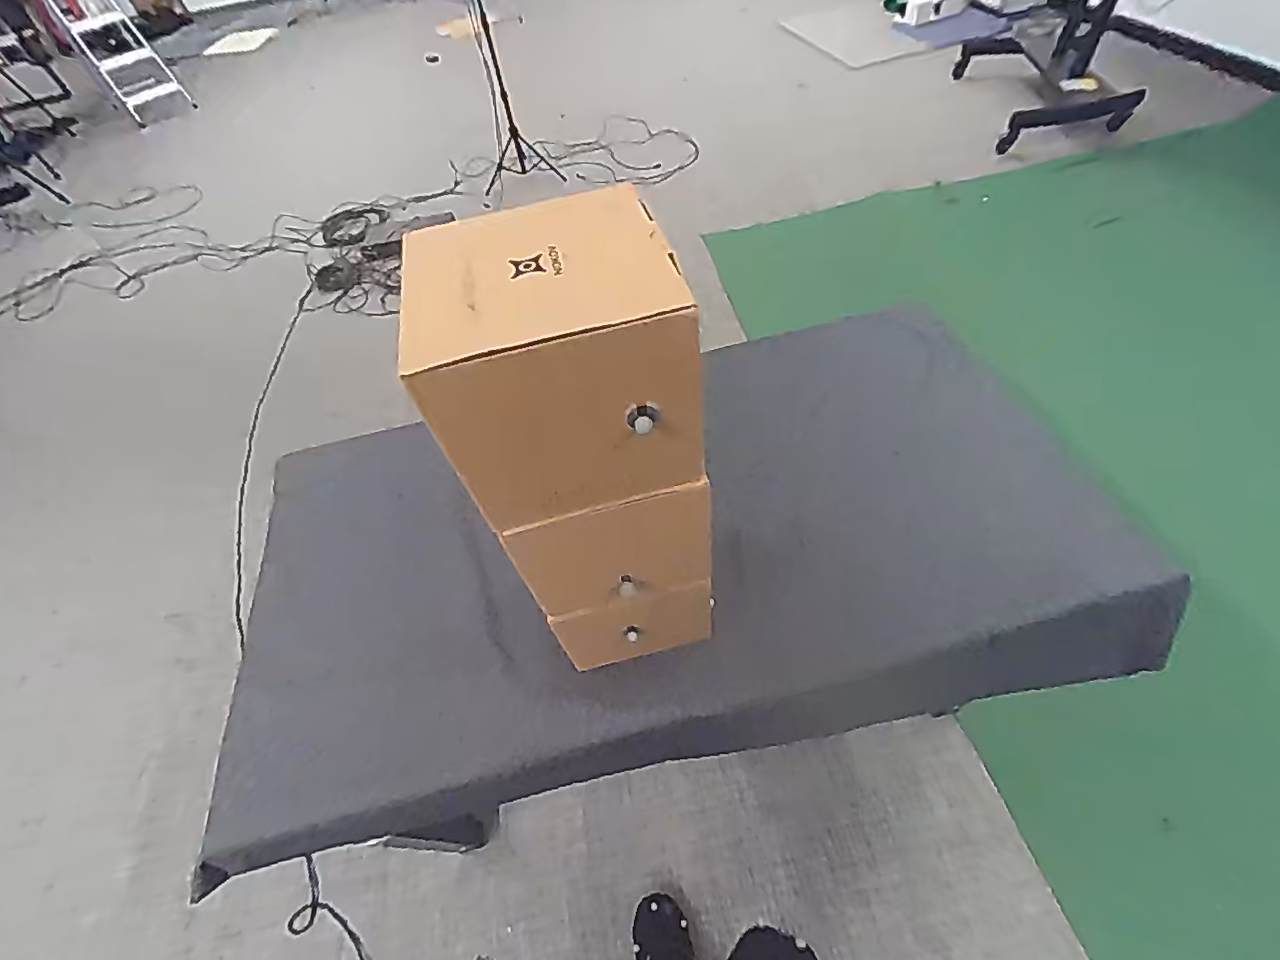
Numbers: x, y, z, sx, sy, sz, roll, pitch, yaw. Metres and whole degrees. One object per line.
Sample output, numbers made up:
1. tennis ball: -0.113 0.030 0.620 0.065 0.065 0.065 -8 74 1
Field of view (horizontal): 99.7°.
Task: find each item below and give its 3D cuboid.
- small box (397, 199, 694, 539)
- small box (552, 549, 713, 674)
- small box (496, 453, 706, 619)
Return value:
1. small box: -0.063 -0.080 0.419 0.179 0.176 0.168 -16 52 -3
2. small box: -0.020 0.118 0.674 0.179 0.176 0.168 -16 54 -6
3. small box: -0.040 0.019 0.546 0.179 0.176 0.168 -14 53 -3
